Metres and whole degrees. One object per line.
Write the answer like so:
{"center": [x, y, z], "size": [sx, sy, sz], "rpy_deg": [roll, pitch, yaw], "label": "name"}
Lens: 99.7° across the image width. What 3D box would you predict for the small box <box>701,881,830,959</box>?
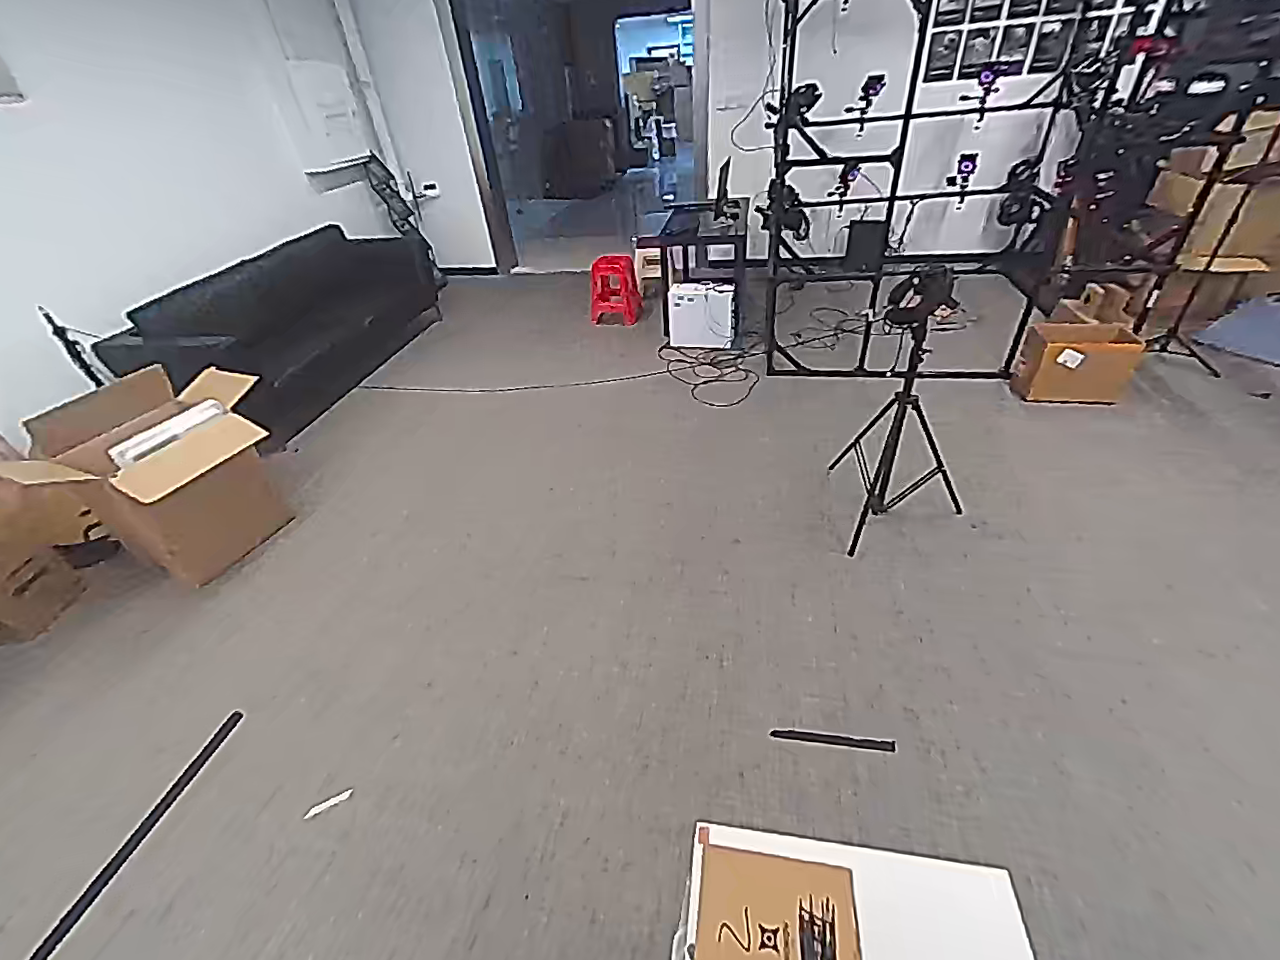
{"center": [0.165, 0.690, 0.733], "size": [0.168, 0.176, 0.179], "rpy_deg": [3, 38, 11], "label": "small box"}
